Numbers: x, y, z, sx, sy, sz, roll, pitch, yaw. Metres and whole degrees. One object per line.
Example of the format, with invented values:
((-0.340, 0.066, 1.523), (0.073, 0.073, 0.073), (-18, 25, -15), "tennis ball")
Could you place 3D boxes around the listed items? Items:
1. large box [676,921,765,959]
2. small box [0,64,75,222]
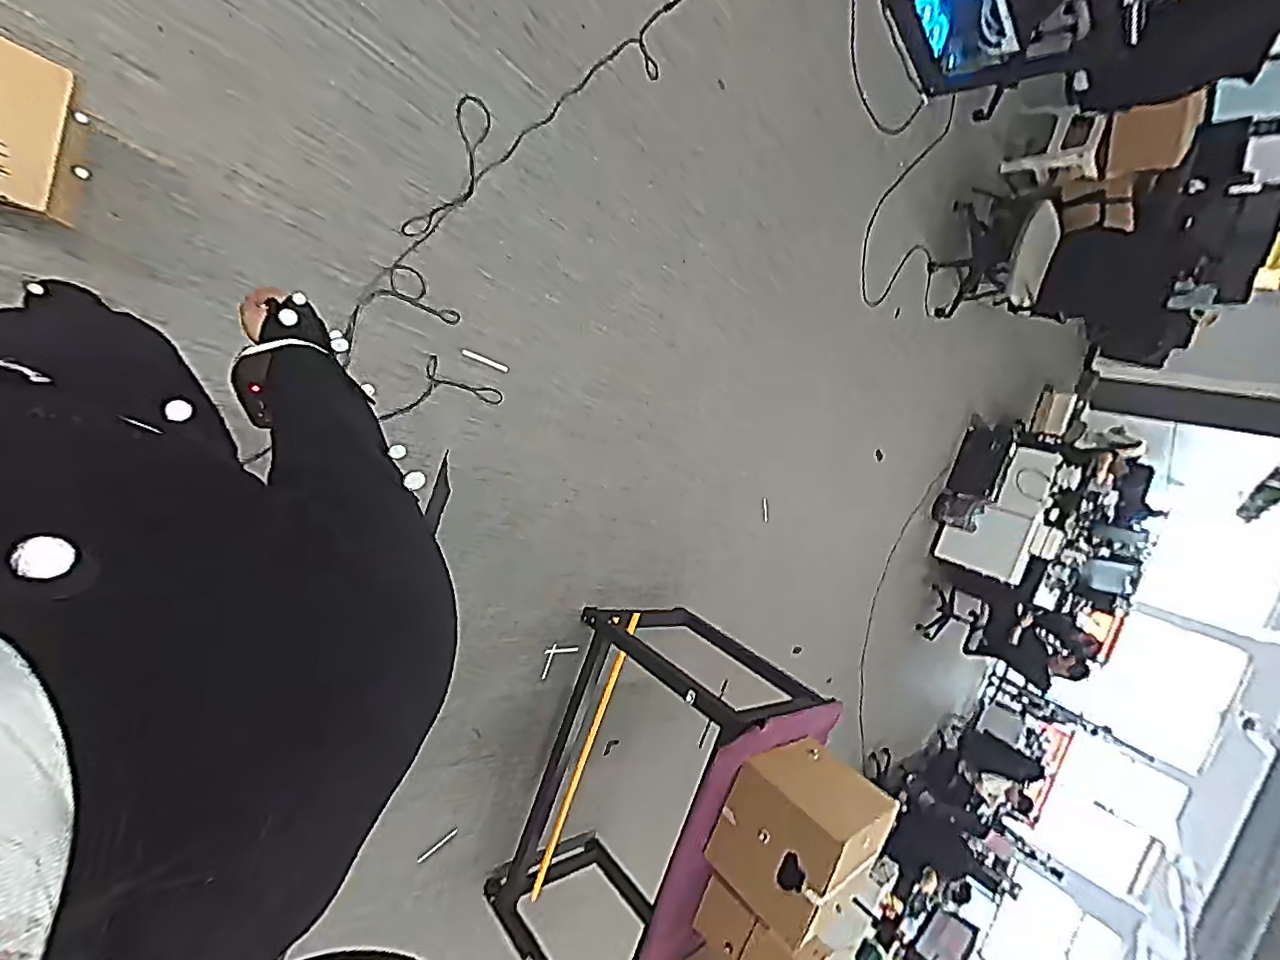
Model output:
((0.216, 1.635, 1.592), (0.408, 0.320, 0.320), (15, 96, -48), "large box")
((-0.929, -0.488, 0.766), (0.168, 0.176, 0.179), (6, 102, -45), "small box")
